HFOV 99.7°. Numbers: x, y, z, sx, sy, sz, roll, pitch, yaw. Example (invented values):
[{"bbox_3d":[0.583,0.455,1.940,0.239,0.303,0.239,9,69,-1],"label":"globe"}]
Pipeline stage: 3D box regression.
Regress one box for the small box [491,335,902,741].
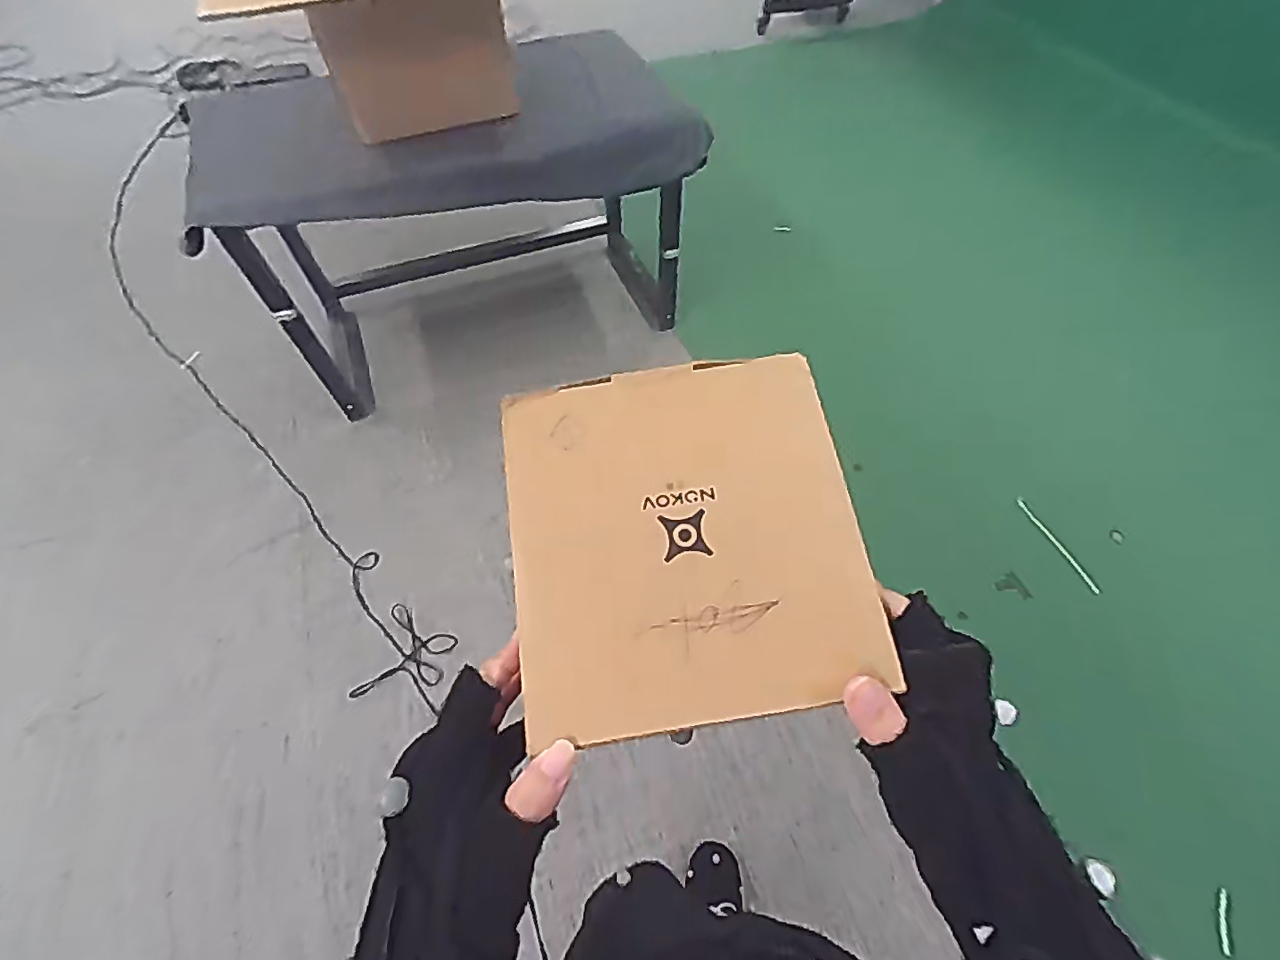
[{"bbox_3d":[0.017,0.043,0.324,0.168,0.176,0.179,-9,70,-2],"label":"small box"}]
